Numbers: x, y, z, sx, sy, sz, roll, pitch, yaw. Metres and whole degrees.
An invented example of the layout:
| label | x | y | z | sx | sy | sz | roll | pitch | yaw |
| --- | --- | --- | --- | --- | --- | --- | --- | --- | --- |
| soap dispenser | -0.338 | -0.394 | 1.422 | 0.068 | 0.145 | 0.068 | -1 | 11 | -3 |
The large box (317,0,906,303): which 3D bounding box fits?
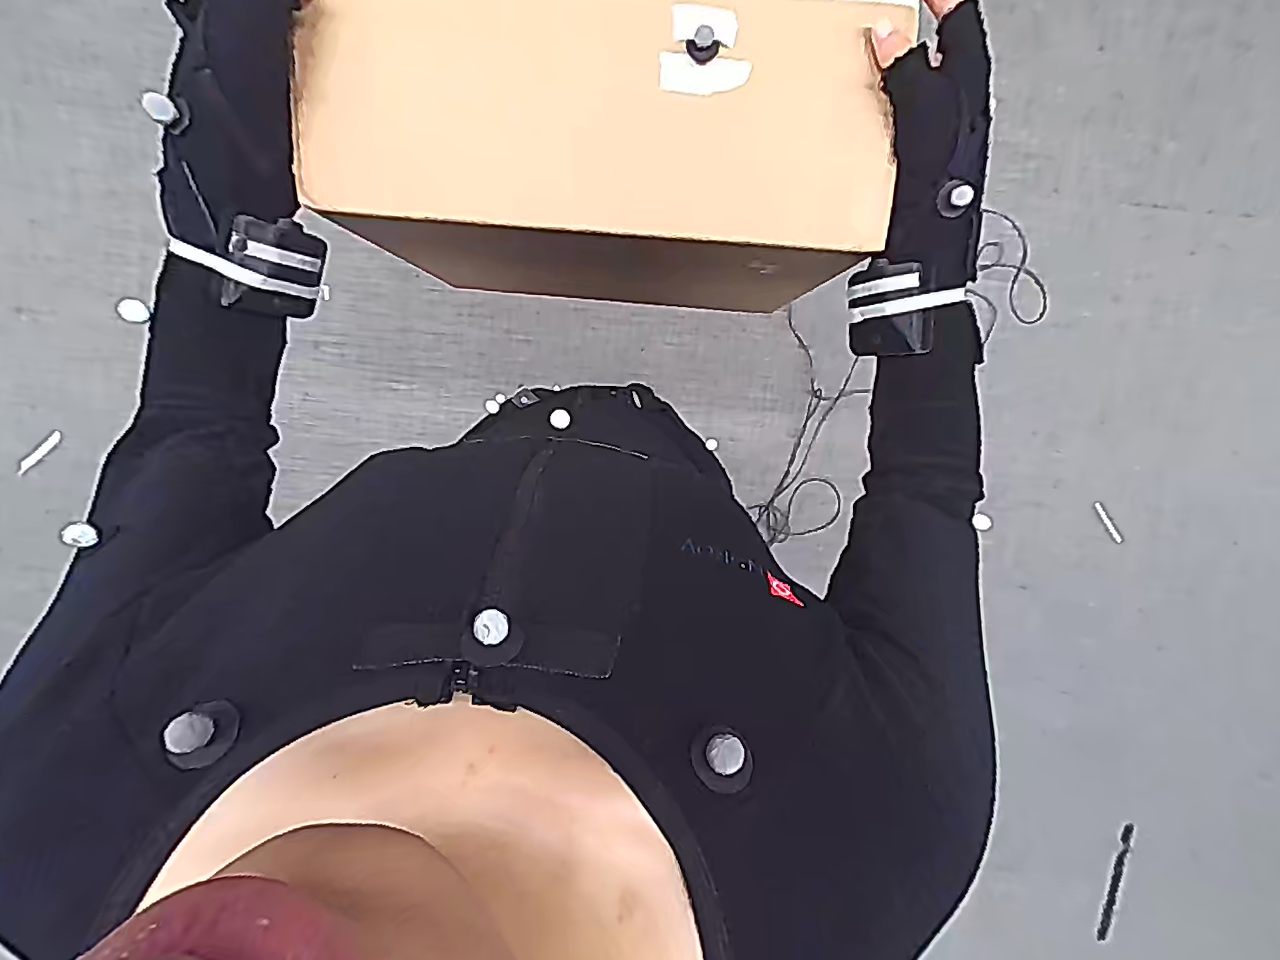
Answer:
| label | x | y | z | sx | sy | sz | roll | pitch | yaw |
| --- | --- | --- | --- | --- | --- | --- | --- | --- | --- |
| large box | -0.020 | -0.359 | 0.510 | 0.408 | 0.320 | 0.320 | 4 | 100 | -2 |
